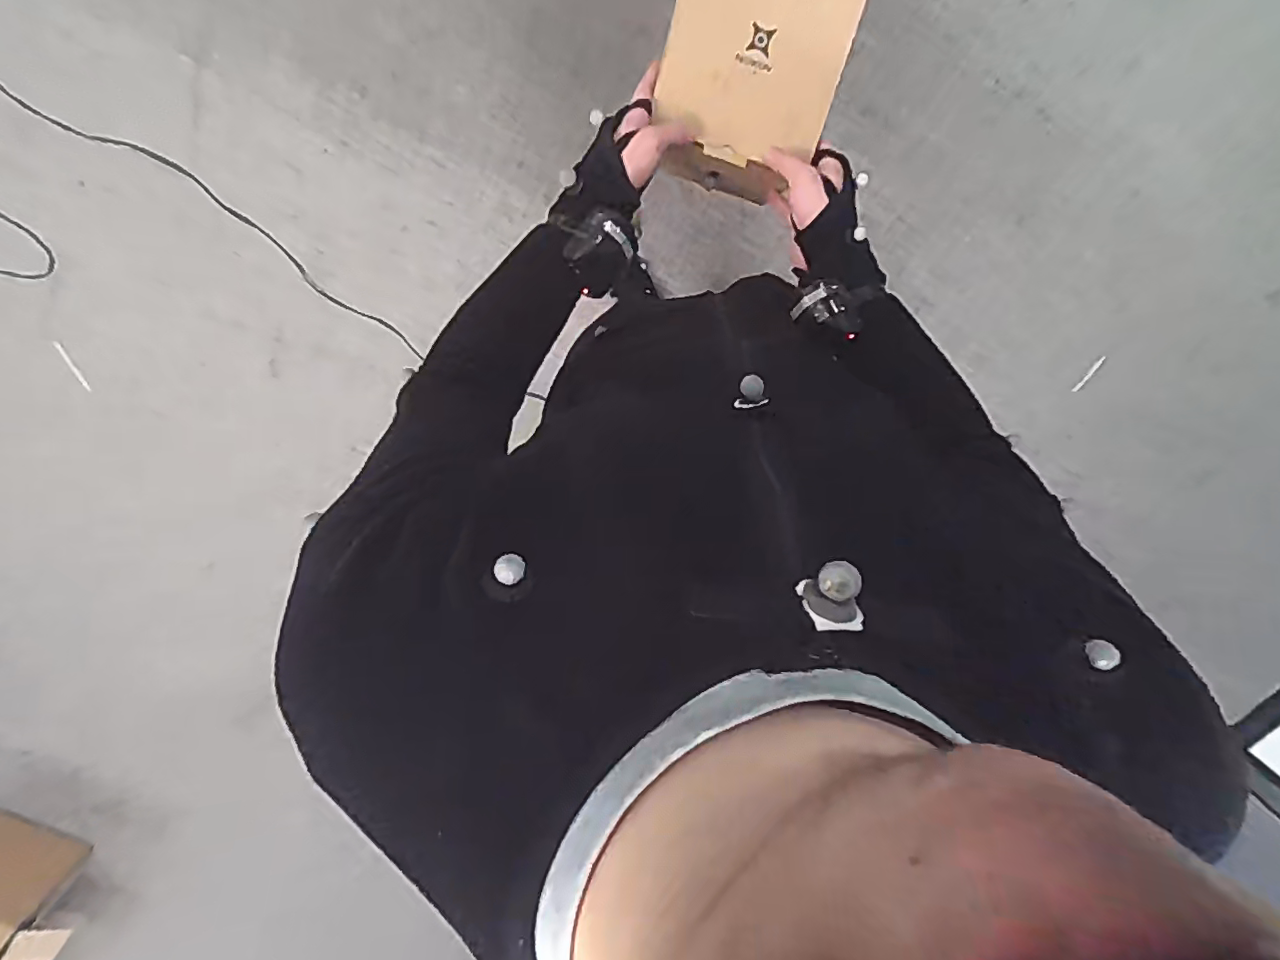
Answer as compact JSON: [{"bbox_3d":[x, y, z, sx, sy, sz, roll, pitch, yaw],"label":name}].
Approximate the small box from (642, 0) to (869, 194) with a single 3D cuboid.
[{"bbox_3d":[0.105,-0.416,0.554,0.168,0.176,0.179,15,109,-6],"label":"small box"}]
